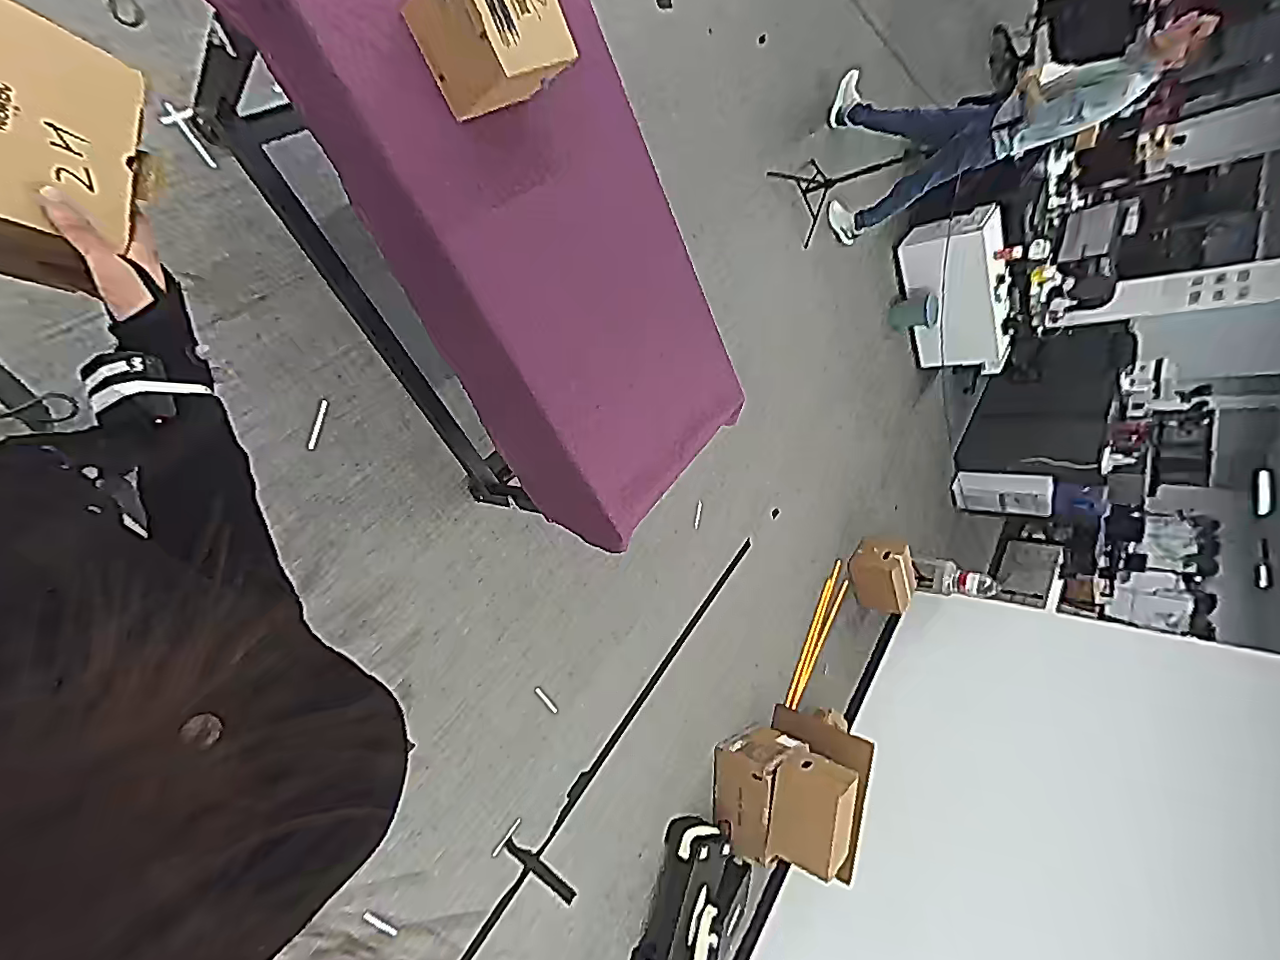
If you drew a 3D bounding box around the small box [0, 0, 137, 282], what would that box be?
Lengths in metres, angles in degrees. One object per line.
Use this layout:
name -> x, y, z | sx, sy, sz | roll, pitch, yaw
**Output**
small box -> -0.552, -0.277, 0.434 | 0.179, 0.176, 0.168 | 7, 85, -57
